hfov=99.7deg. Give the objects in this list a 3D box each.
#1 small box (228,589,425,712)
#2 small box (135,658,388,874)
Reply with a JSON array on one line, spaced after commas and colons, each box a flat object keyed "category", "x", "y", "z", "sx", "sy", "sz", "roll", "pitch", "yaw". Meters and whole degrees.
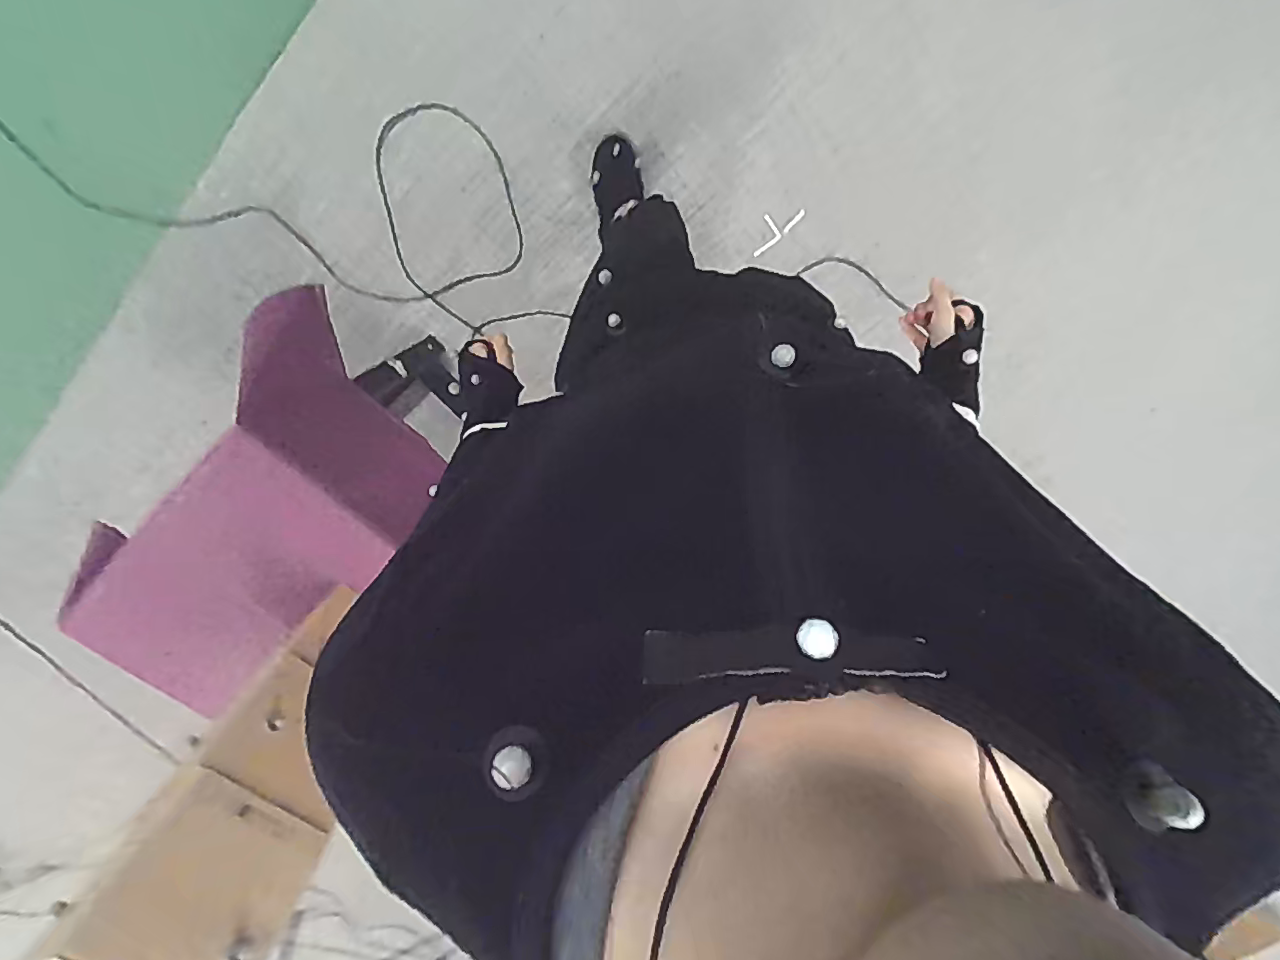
[{"category": "small box", "x": -0.486, "y": 0.301, "z": 0.863, "sx": 0.168, "sy": 0.176, "sz": 0.179, "roll": -40, "pitch": 108, "yaw": 20}, {"category": "small box", "x": -0.479, "y": 0.364, "z": 0.711, "sx": 0.168, "sy": 0.176, "sz": 0.179, "roll": -38, "pitch": 110, "yaw": 19}]
